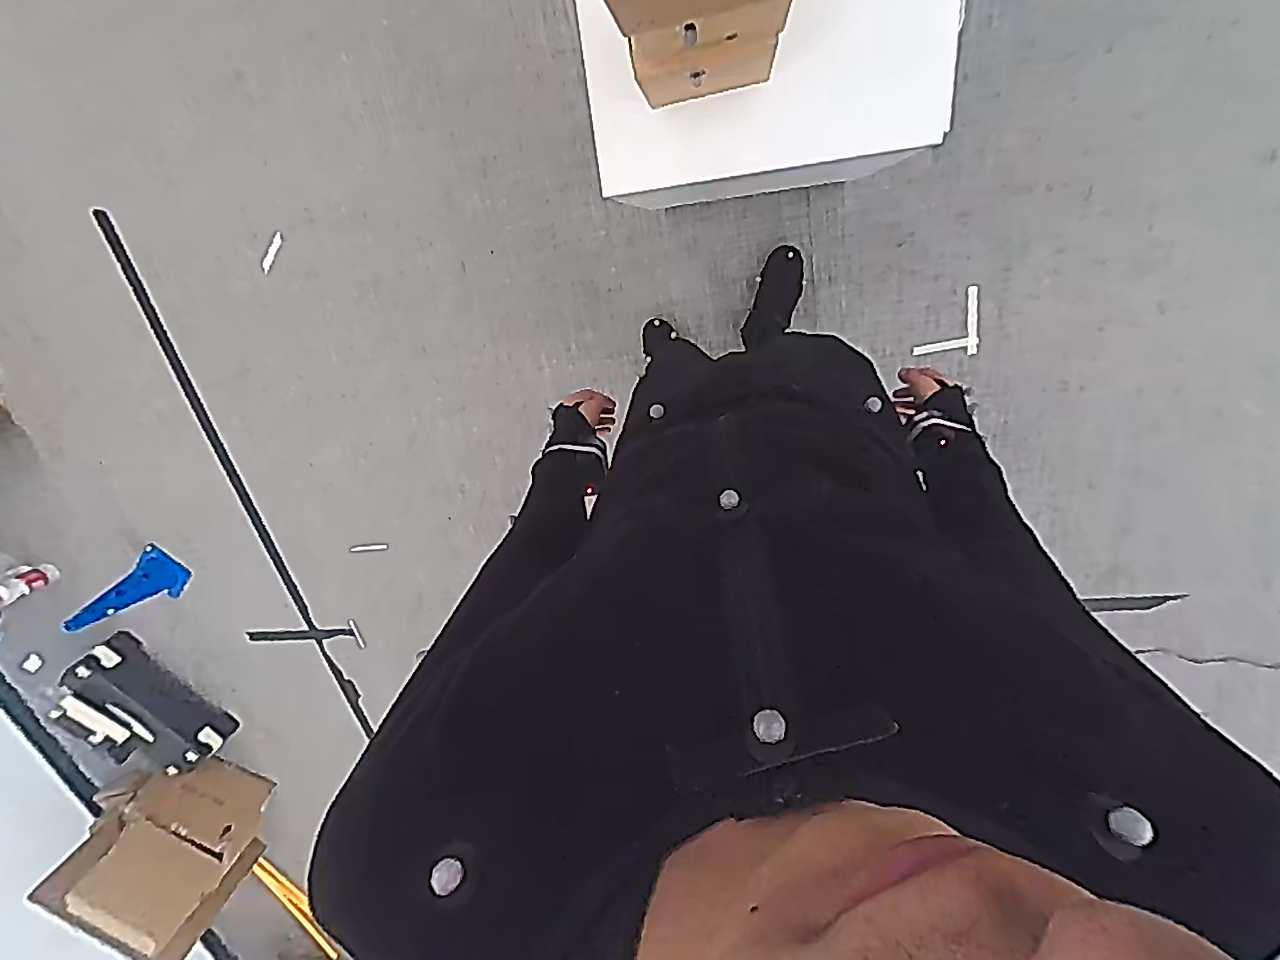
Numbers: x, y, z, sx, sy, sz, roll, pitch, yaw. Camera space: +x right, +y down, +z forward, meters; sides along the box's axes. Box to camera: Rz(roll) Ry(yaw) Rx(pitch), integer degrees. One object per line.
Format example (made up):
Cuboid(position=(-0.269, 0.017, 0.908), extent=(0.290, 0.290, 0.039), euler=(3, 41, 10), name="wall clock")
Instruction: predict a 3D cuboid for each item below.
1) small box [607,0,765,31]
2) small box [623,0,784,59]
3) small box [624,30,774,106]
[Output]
Cuboid(position=(0.040, -0.474, 0.399), extent=(0.179, 0.176, 0.168), euler=(-5, 113, 11), name="small box")
Cuboid(position=(0.060, -0.557, 0.542), extent=(0.168, 0.176, 0.179), euler=(-5, 112, 11), name="small box")
Cuboid(position=(0.072, -0.608, 0.695), extent=(0.179, 0.176, 0.168), euler=(-6, 113, 11), name="small box")
